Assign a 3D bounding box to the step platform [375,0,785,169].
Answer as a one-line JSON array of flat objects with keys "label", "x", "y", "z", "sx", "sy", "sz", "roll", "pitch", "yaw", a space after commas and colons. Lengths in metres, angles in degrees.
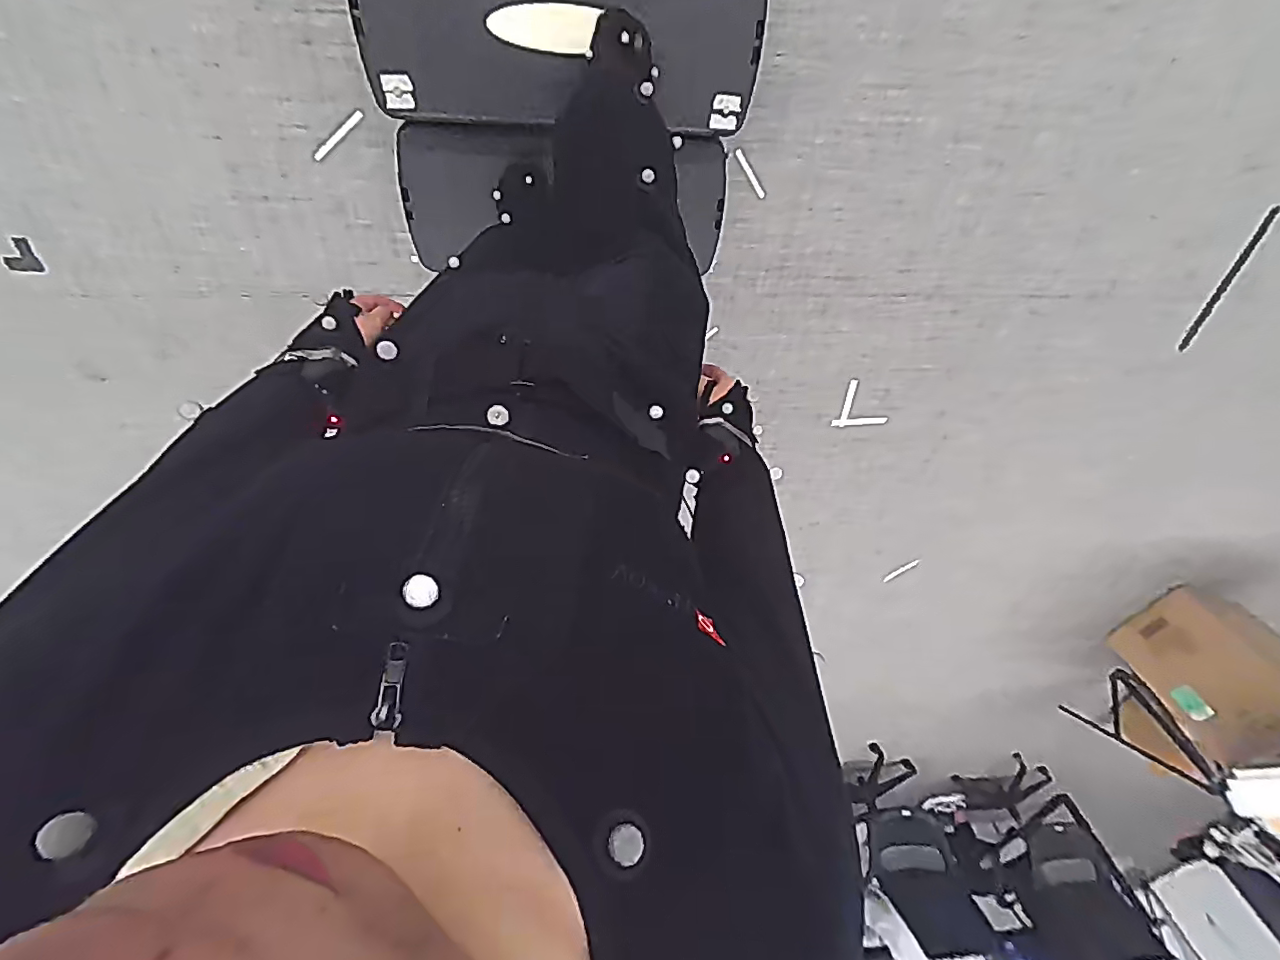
[{"label": "step platform", "x": -0.097, "y": -0.763, "z": 0.970, "sx": 0.684, "sy": 0.204, "sz": 0.286, "roll": 2, "pitch": 126, "yaw": -10}]
